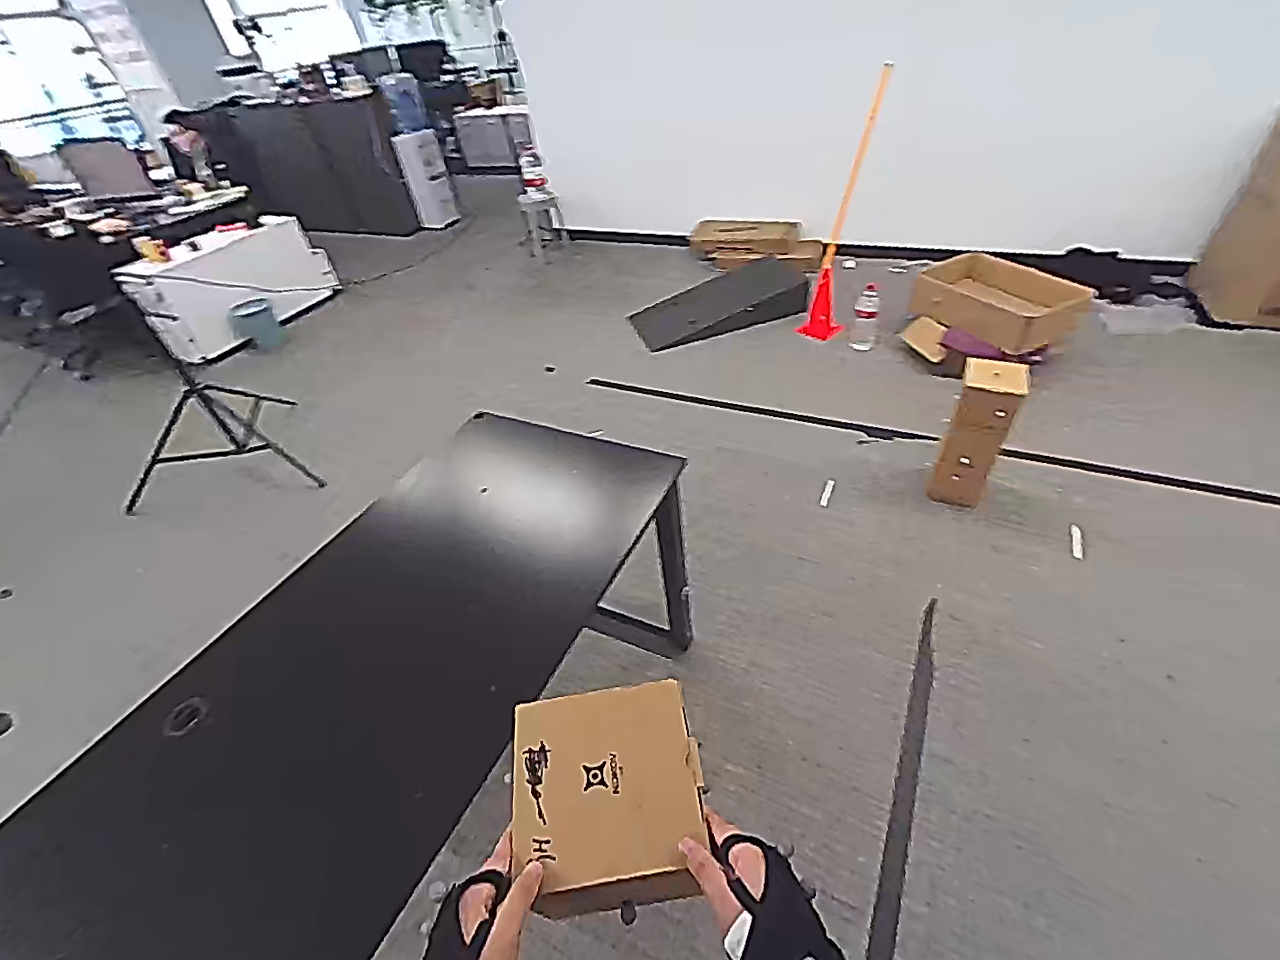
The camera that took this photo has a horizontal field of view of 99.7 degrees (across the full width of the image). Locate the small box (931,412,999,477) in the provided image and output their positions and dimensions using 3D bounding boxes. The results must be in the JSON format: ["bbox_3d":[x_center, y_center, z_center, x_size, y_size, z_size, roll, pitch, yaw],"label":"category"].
[{"bbox_3d":[1.128,-0.138,1.877,0.168,0.176,0.179,15,48,23],"label":"small box"}]

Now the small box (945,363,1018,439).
[{"bbox_3d":[1.114,-0.258,1.768,0.168,0.176,0.179,15,46,22],"label":"small box"}]

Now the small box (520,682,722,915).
[{"bbox_3d":[-0.020,0.336,0.570,0.179,0.176,0.168,-7,45,-3],"label":"small box"}]

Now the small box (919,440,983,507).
[{"bbox_3d":[1.145,-0.022,1.992,0.179,0.176,0.168,15,48,23],"label":"small box"}]
